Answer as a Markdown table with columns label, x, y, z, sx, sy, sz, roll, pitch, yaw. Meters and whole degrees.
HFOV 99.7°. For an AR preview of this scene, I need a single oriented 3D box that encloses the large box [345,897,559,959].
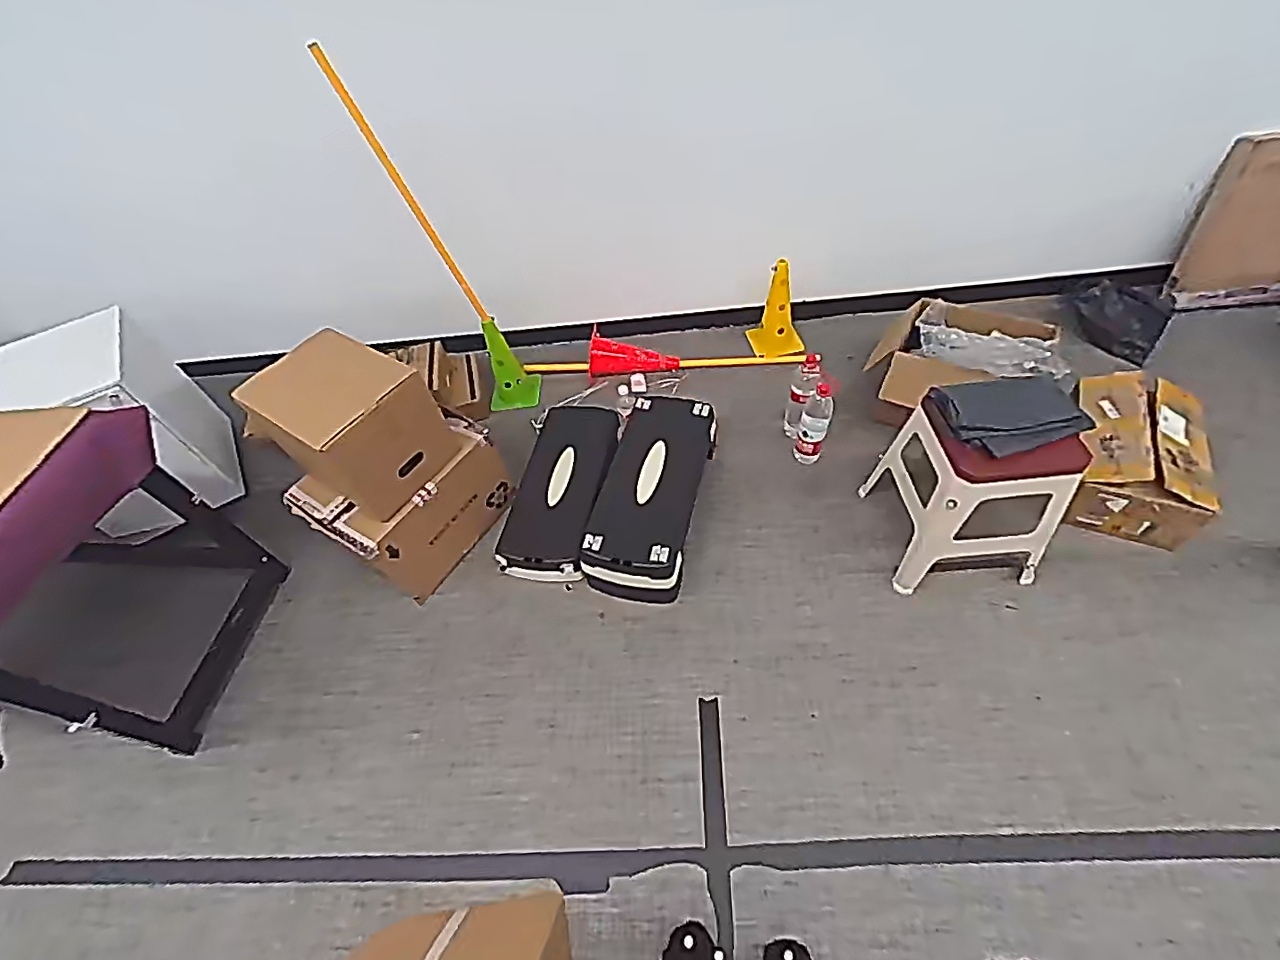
| label | x | y | z | sx | sy | sz | roll | pitch | yaw |
| --- | --- | --- | --- | --- | --- | --- | --- | --- | --- |
| large box | -0.261 | 0.798 | 0.637 | 0.320 | 0.408 | 0.320 | -12 | 79 | -1 |
